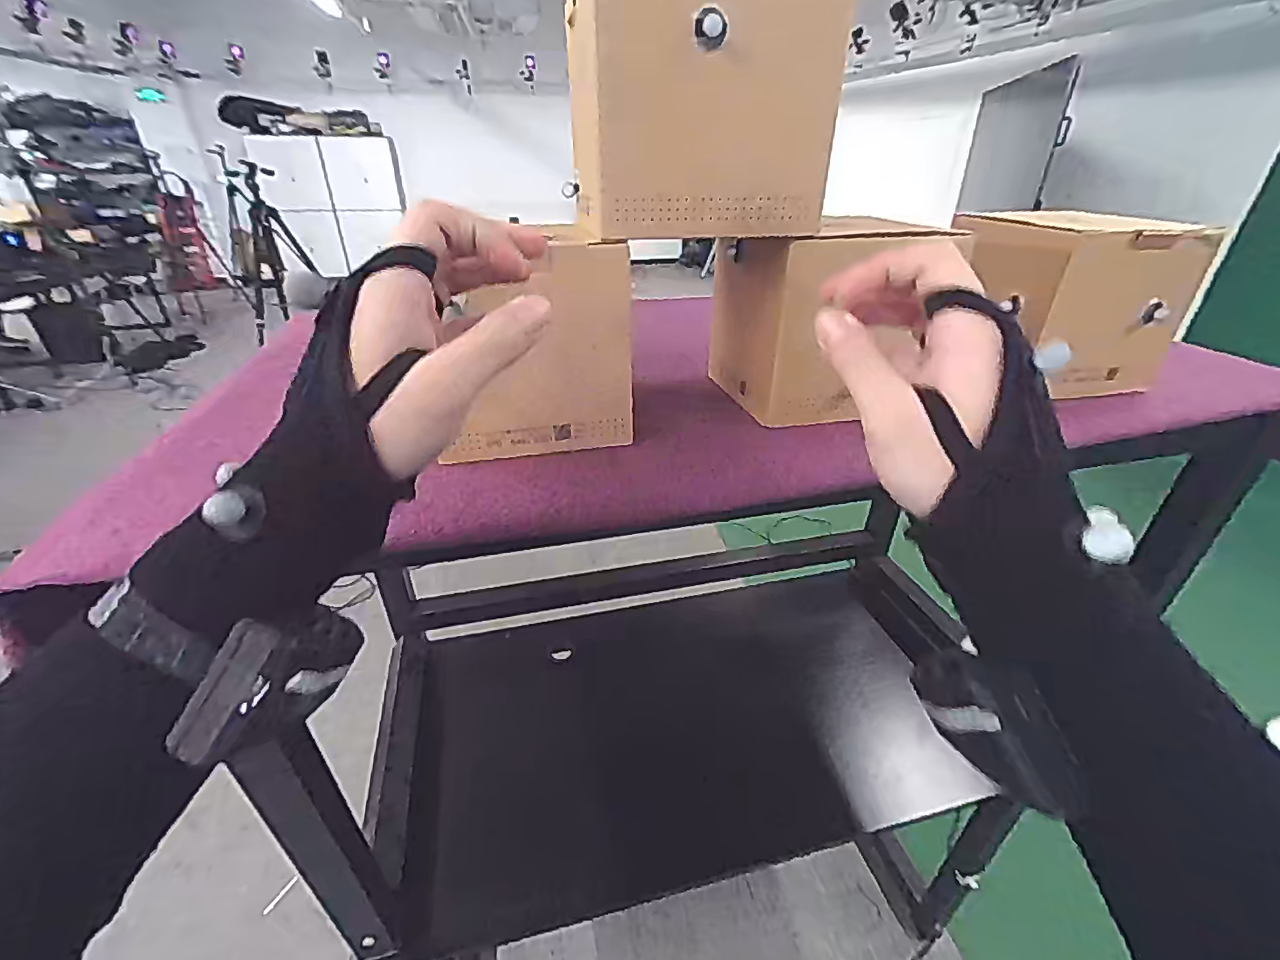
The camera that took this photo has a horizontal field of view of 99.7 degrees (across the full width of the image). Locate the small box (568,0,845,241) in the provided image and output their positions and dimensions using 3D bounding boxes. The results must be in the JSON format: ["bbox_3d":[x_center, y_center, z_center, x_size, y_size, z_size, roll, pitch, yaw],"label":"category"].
[{"bbox_3d":[0.040,-0.290,0.434,0.179,0.176,0.168,-5,30,-11],"label":"small box"}]

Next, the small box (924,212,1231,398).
[{"bbox_3d":[0.455,-0.196,0.601,0.168,0.176,0.179,-5,31,-8],"label":"small box"}]
